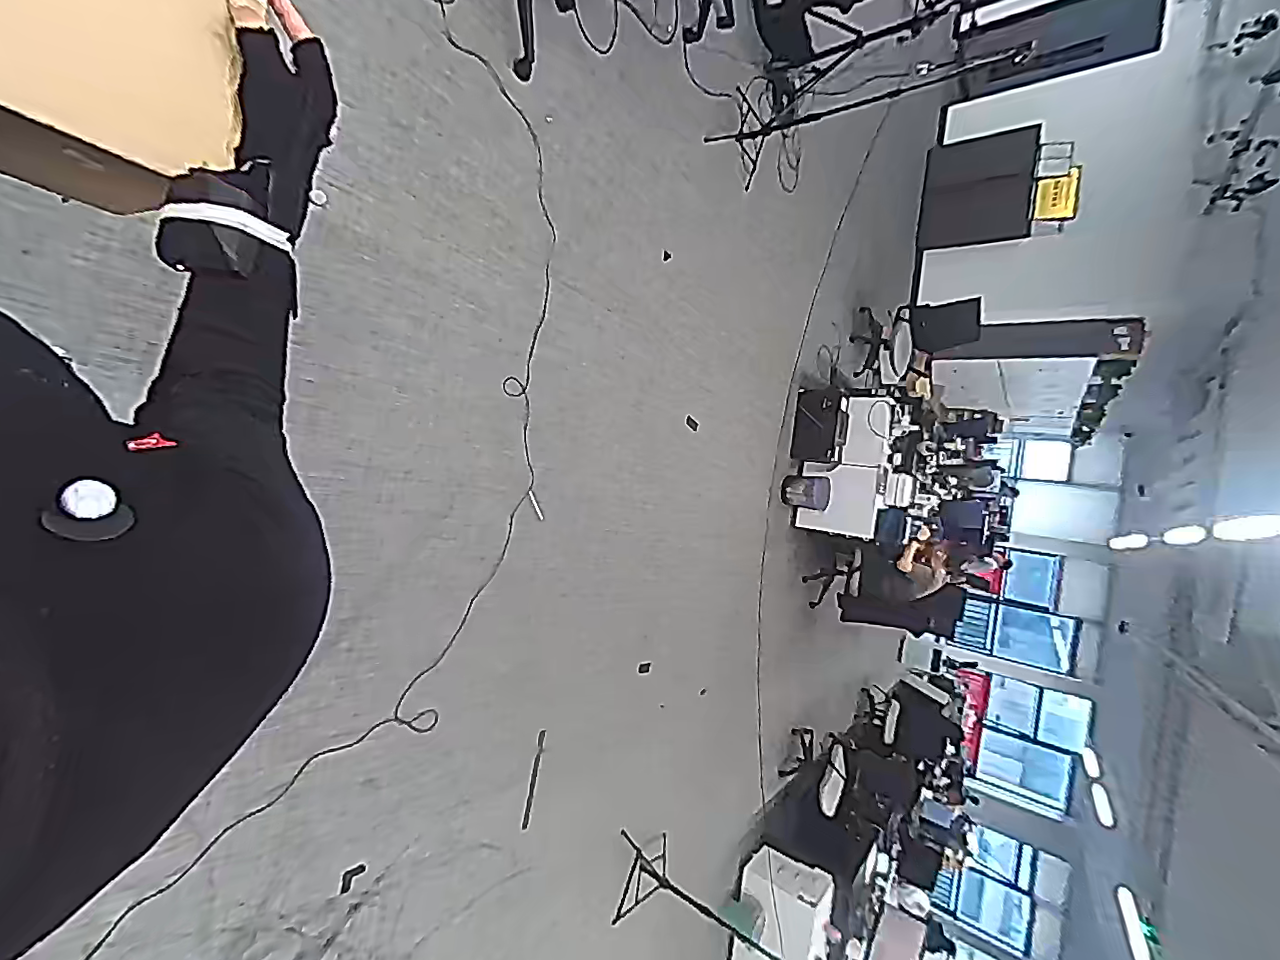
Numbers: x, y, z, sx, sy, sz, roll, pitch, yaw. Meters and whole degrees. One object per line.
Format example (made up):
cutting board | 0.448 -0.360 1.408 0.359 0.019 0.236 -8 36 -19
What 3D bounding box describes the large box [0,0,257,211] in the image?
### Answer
large box | -0.527 -0.415 0.334 0.408 0.320 0.320 8 98 -57
